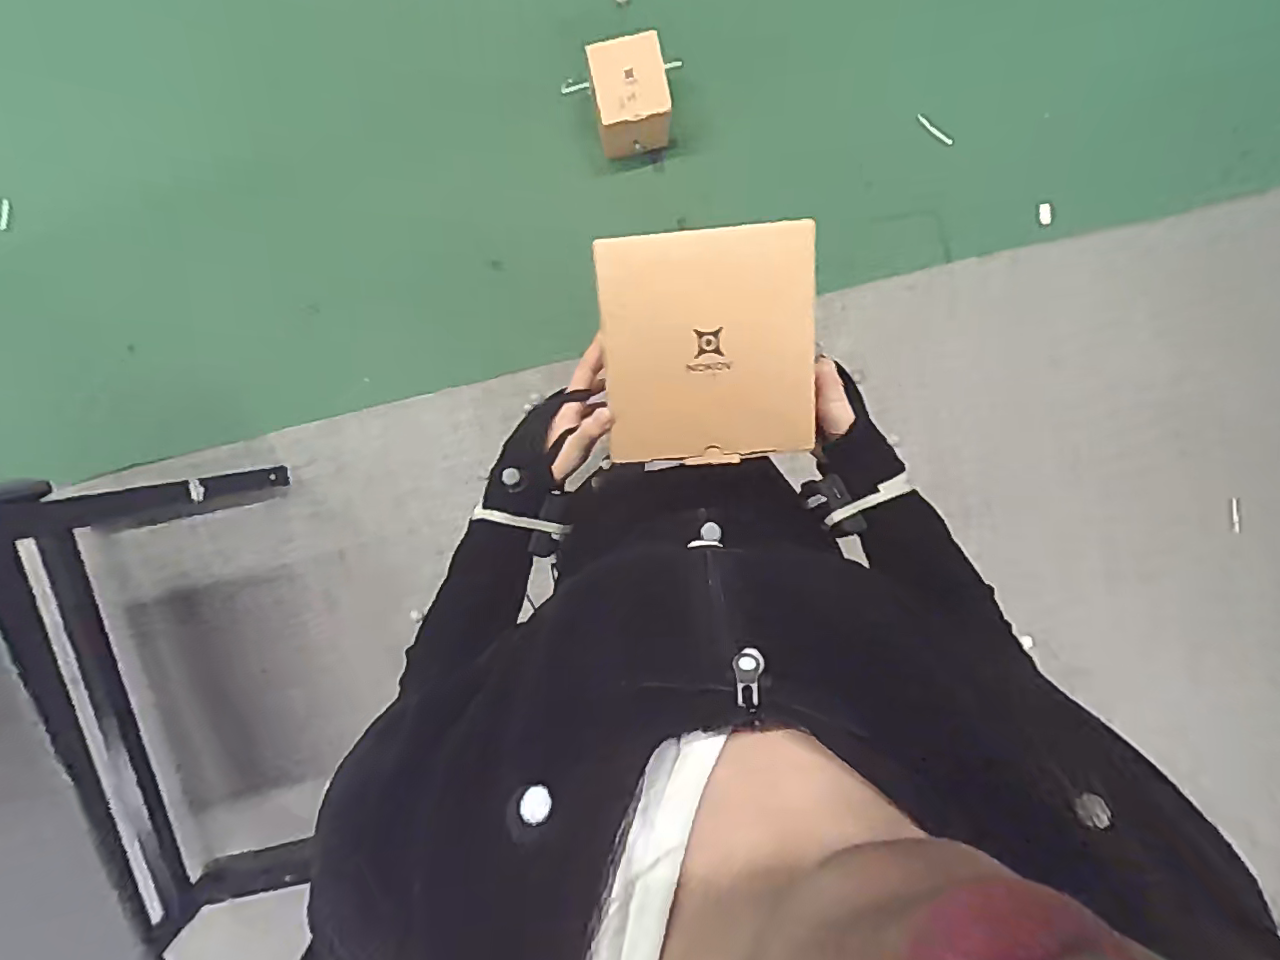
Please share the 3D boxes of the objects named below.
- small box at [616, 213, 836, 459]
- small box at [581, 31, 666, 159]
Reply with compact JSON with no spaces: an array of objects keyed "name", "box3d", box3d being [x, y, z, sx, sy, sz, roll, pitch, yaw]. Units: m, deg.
[{"name":"small box","box3d":[0.065,-0.122,0.489,0.168,0.176,0.179,-4,103,1]},{"name":"small box","box3d":[-0.040,-0.912,1.294,0.168,0.176,0.179,-13,97,0]}]
